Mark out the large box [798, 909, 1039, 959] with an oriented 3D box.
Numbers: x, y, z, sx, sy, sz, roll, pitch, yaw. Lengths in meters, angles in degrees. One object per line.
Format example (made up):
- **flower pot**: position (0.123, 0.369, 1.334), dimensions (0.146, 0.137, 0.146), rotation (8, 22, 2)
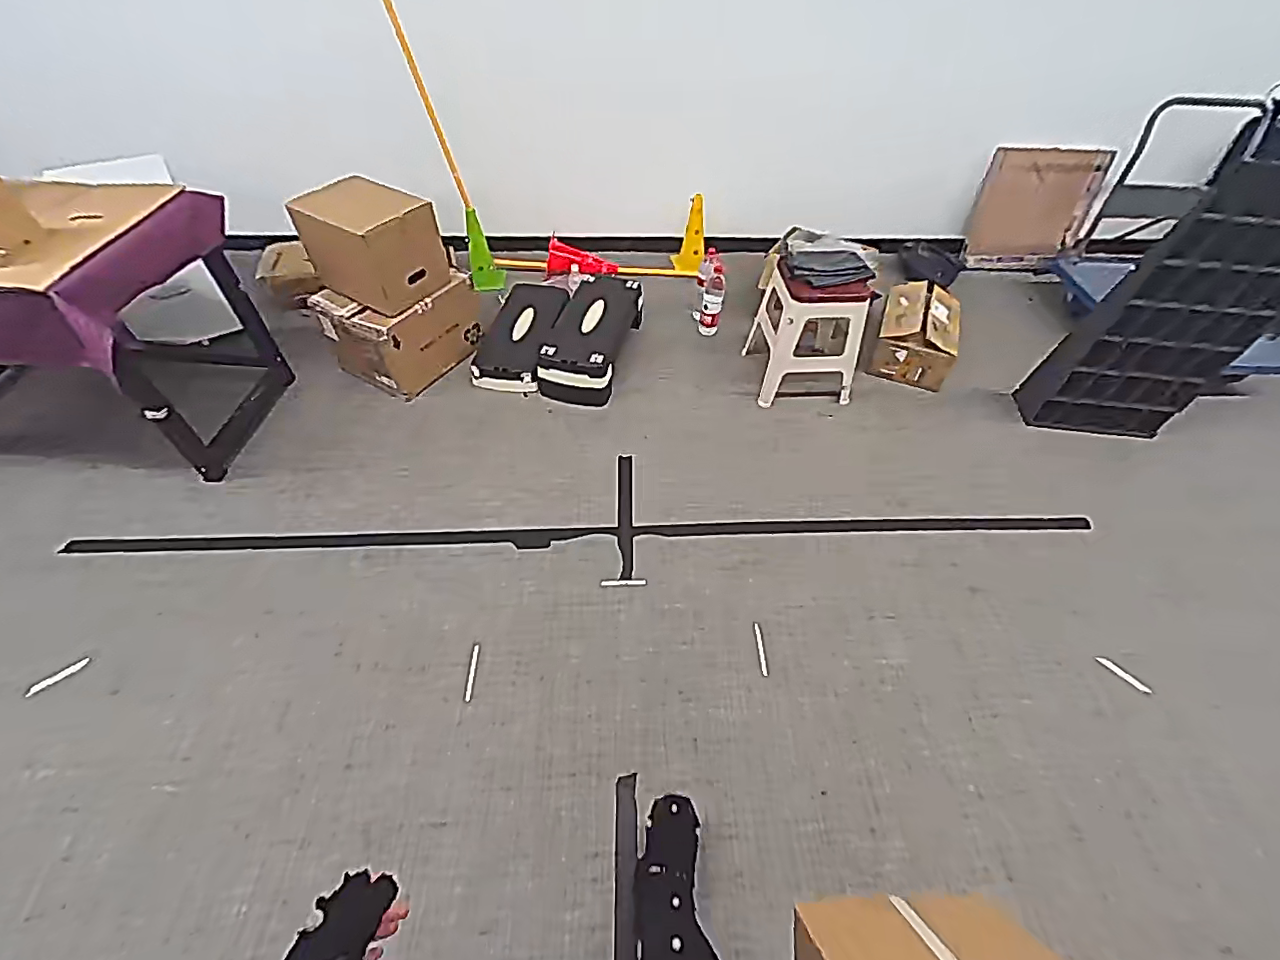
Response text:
- **large box**: position (0.392, 0.772, 0.596), dimensions (0.320, 0.408, 0.320), rotation (3, 82, -5)
